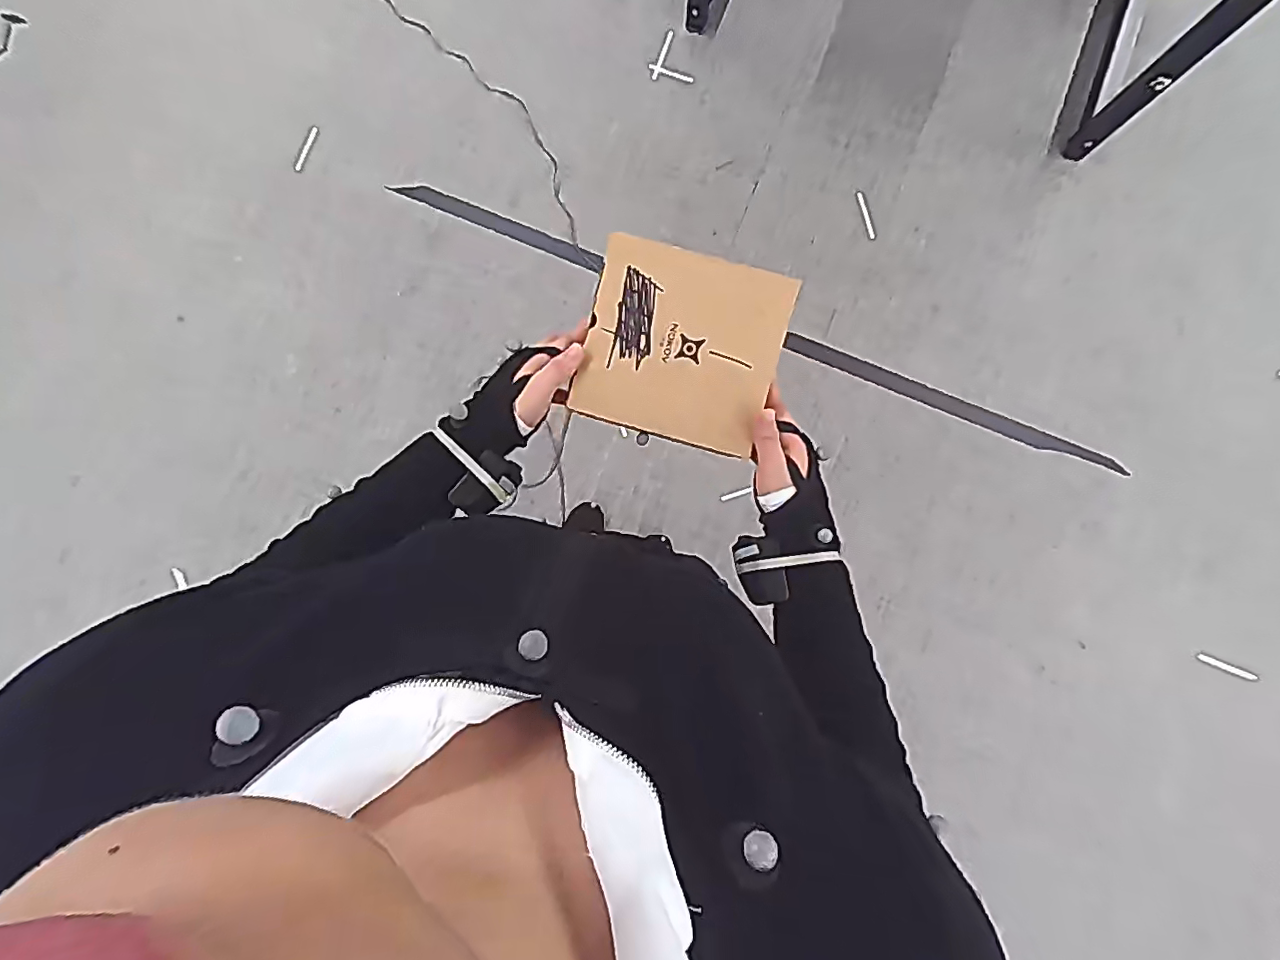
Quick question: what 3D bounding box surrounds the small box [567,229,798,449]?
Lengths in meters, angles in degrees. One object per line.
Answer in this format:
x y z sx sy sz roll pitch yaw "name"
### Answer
0.040 -0.132 0.570 0.179 0.176 0.168 16 94 1 "small box"
